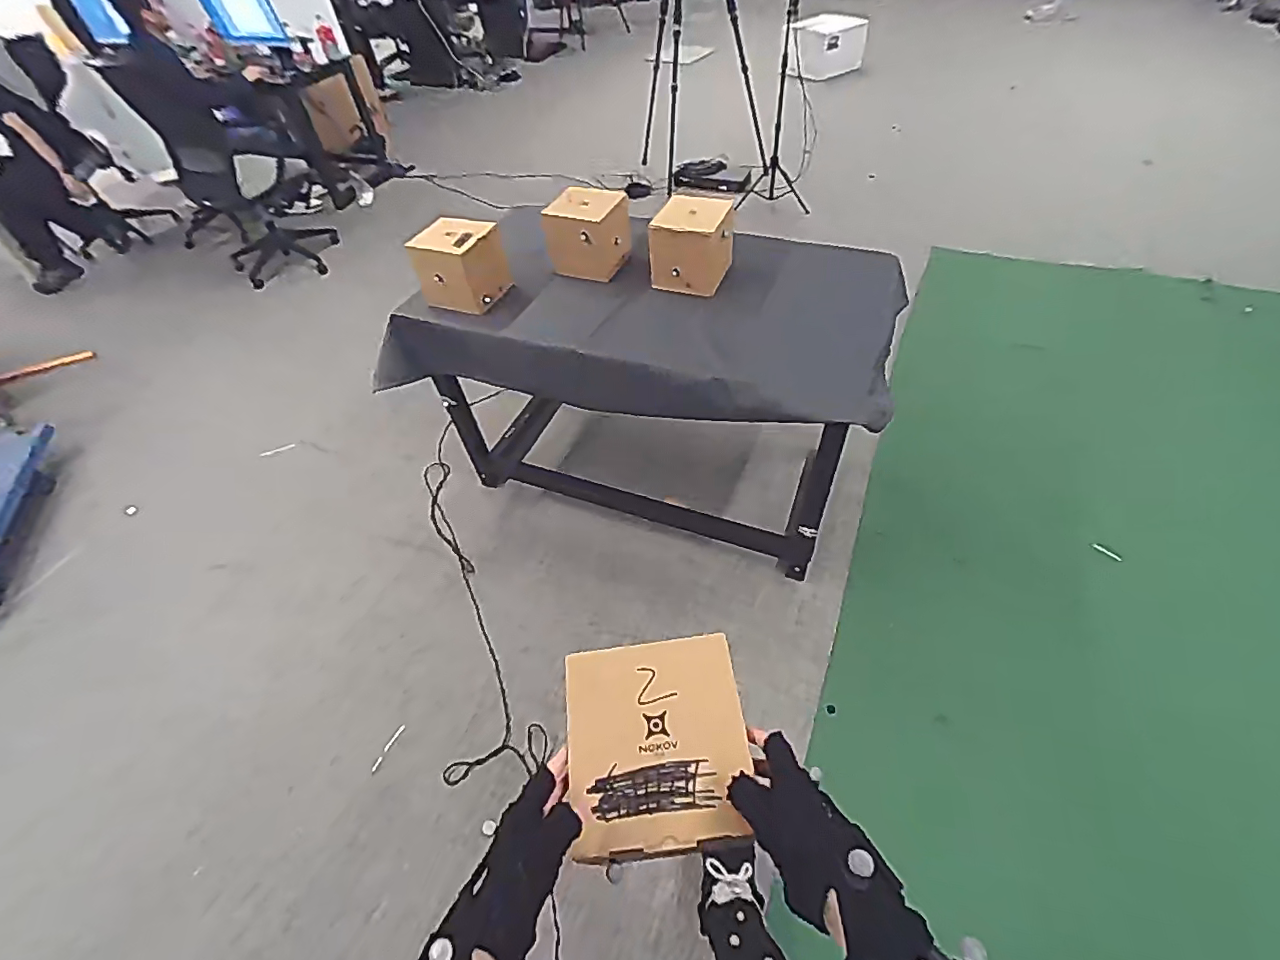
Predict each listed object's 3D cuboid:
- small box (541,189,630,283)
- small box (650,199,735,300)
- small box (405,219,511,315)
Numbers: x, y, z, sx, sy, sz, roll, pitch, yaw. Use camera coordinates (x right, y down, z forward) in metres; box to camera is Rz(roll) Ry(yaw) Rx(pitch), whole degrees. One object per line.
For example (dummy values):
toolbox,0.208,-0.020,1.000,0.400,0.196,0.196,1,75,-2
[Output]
small box,-0.137,-0.656,1.462,0.179,0.176,0.168,17,54,19
small box,0.135,-0.591,1.386,0.168,0.176,0.179,16,54,18
small box,-0.461,-0.551,1.404,0.179,0.176,0.168,15,52,18
